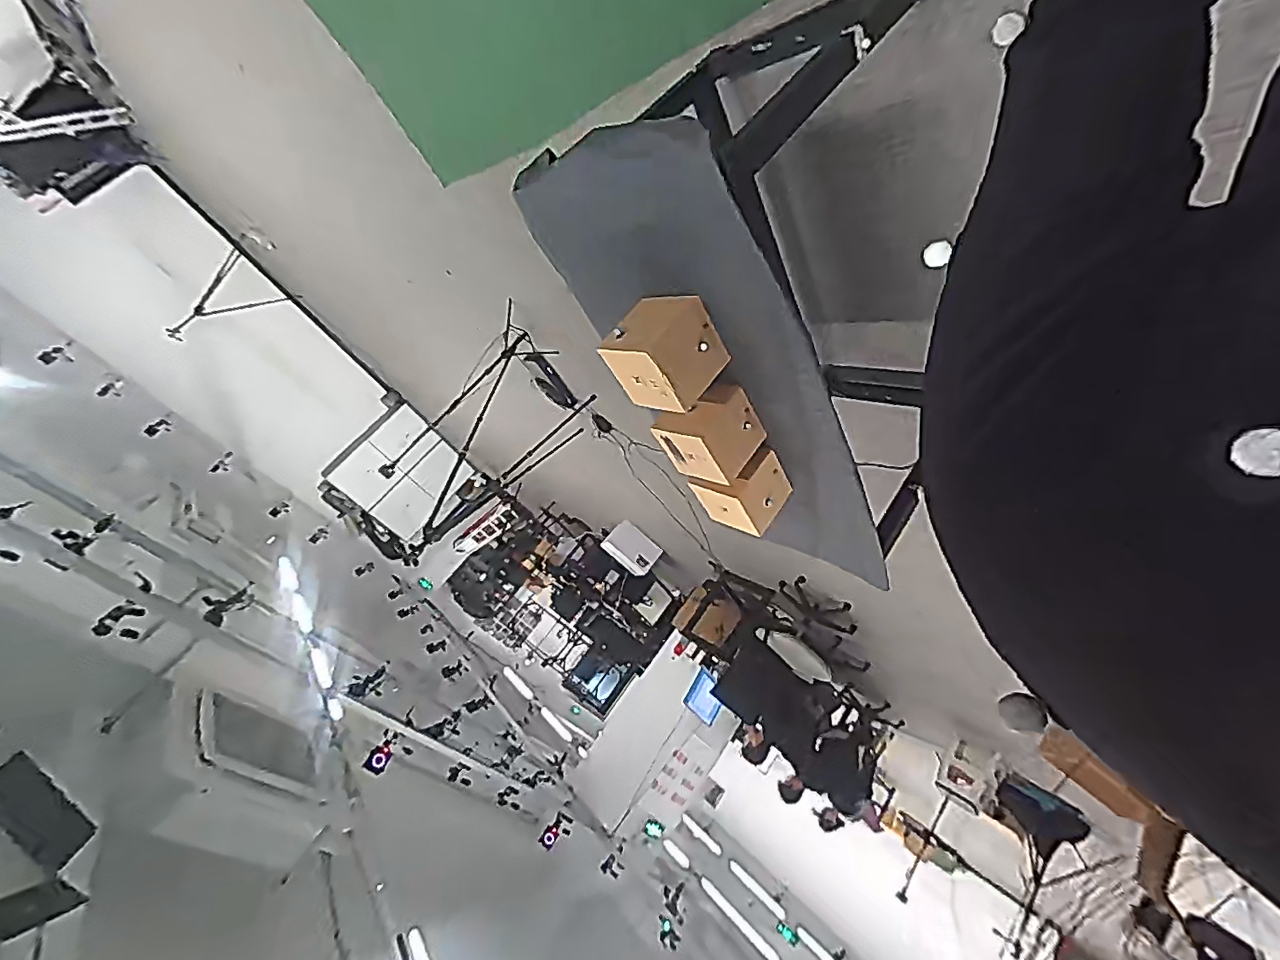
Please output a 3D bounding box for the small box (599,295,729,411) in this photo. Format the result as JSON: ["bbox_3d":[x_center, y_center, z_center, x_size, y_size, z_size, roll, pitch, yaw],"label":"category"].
[{"bbox_3d":[0.054,-0.272,1.142,0.179,0.176,0.168,19,154,48],"label":"small box"}]
